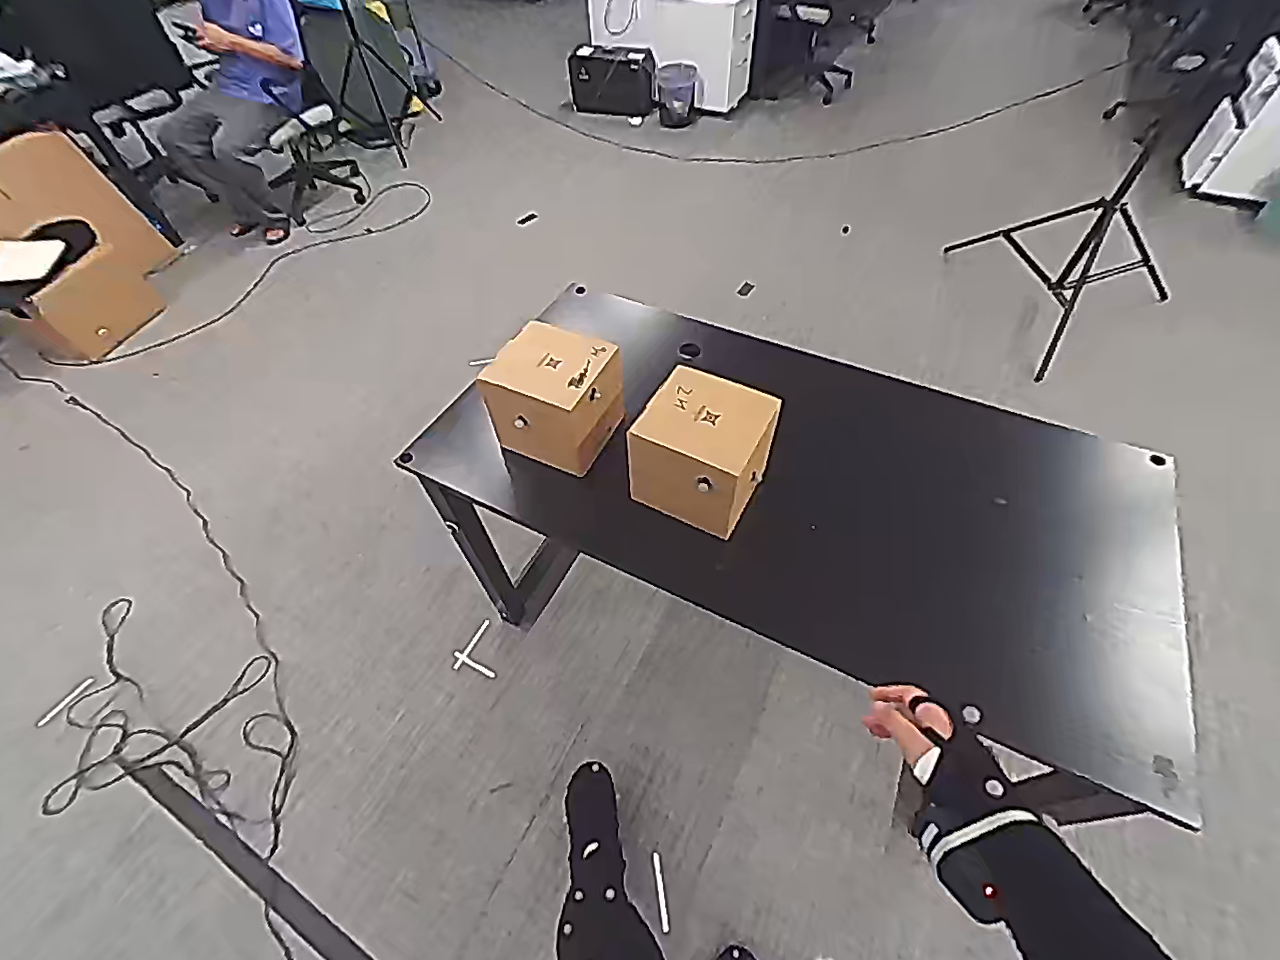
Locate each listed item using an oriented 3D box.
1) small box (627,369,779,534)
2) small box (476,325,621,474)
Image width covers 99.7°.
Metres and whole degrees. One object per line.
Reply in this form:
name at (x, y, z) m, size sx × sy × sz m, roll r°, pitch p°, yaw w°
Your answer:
small box at (0.095, -0.039, 0.850) m, size 0.179 × 0.176 × 0.168 m, roll 23°, pitch 56°, yaw 18°
small box at (-0.146, -0.135, 0.934) m, size 0.179 × 0.176 × 0.168 m, roll 20°, pitch 56°, yaw 17°
